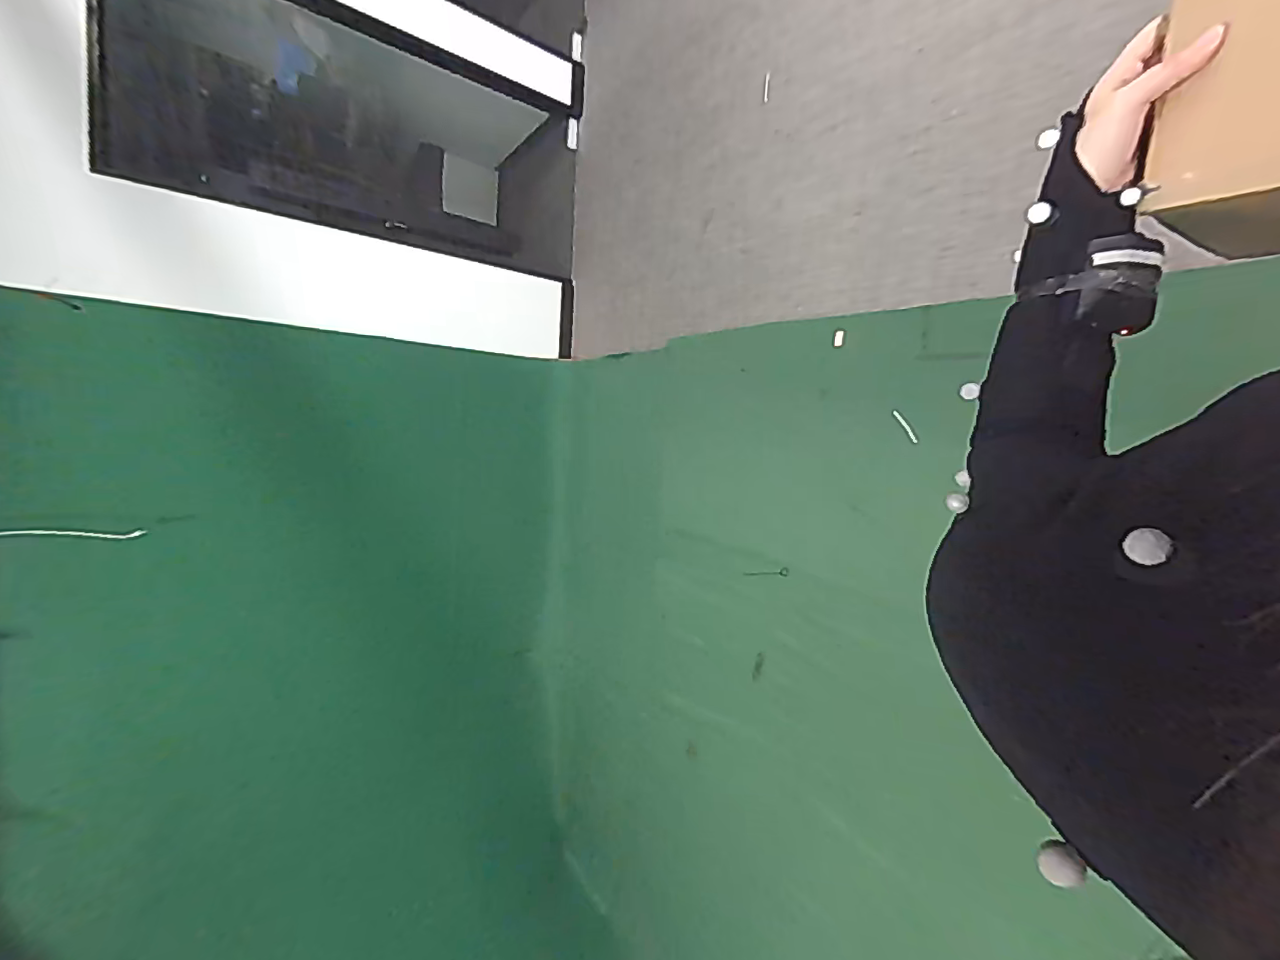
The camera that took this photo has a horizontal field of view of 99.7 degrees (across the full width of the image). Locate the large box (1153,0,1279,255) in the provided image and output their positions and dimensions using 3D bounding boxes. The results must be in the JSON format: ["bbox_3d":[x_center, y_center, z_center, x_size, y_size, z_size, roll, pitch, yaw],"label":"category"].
[{"bbox_3d":[0.630,-0.342,0.311,0.408,0.320,0.320,15,108,55],"label":"large box"}]
